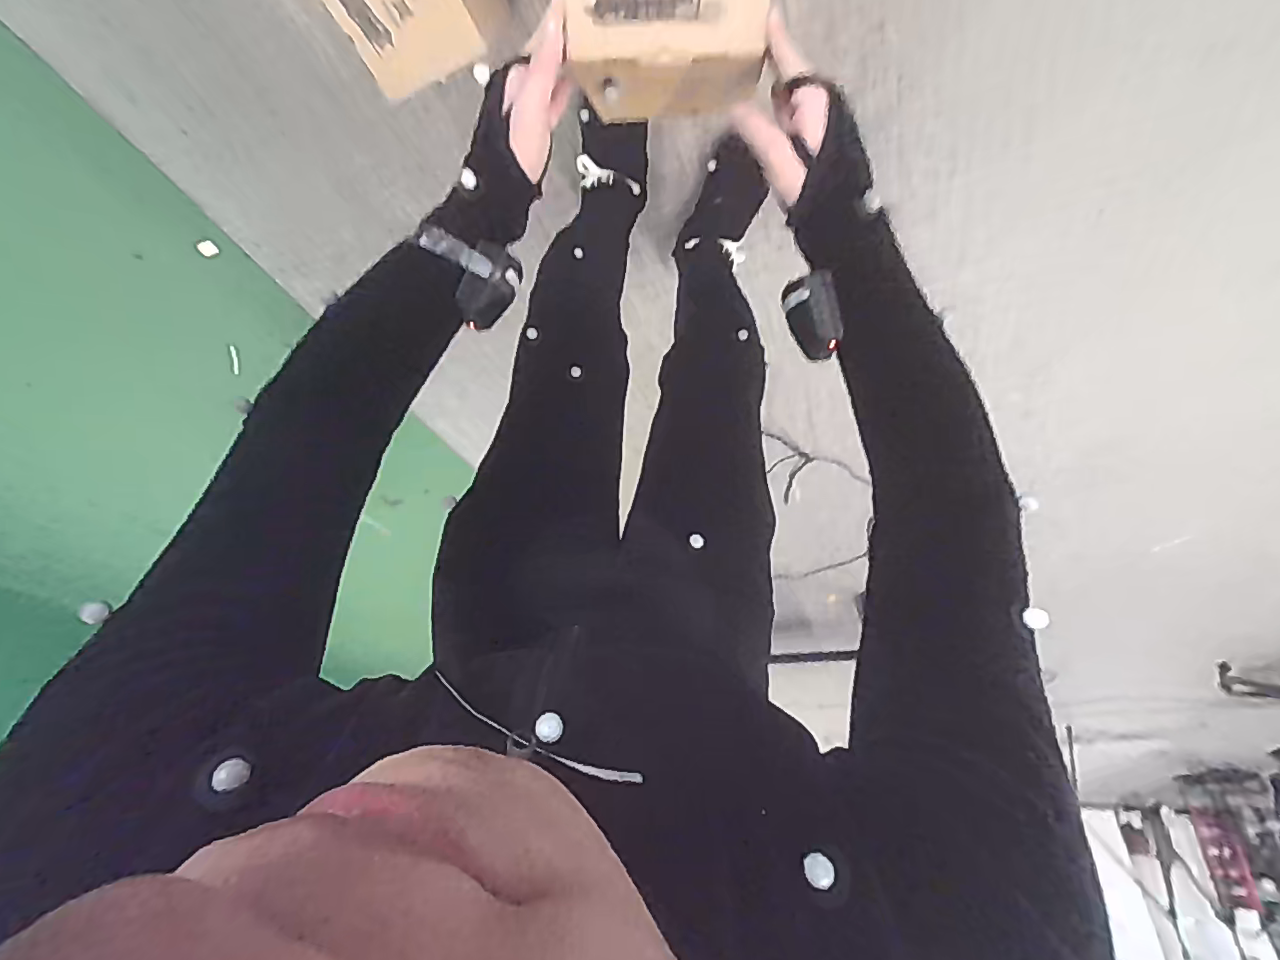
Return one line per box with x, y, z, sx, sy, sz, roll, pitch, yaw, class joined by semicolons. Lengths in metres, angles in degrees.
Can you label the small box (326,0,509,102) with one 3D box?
-0.306;-0.675;0.749;0.179;0.176;0.168;-12;142;19;small box
